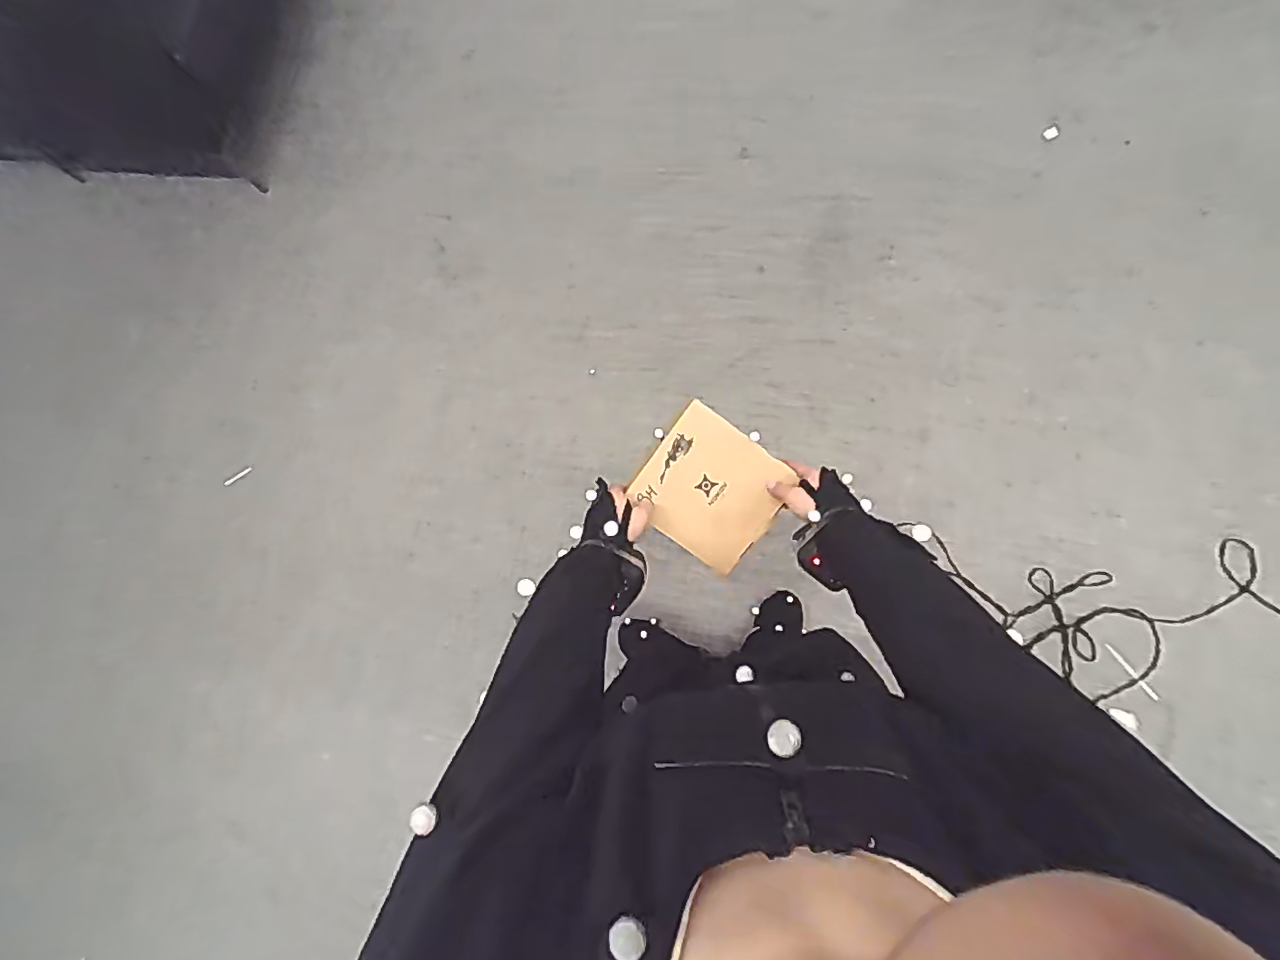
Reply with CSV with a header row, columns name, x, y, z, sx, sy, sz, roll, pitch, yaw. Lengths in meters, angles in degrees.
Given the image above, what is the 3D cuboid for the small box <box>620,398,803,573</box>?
name,x,y,z,sx,sy,sz,roll,pitch,yaw
small box,0.092,-0.006,0.760,0.179,0.176,0.168,36,99,-5
